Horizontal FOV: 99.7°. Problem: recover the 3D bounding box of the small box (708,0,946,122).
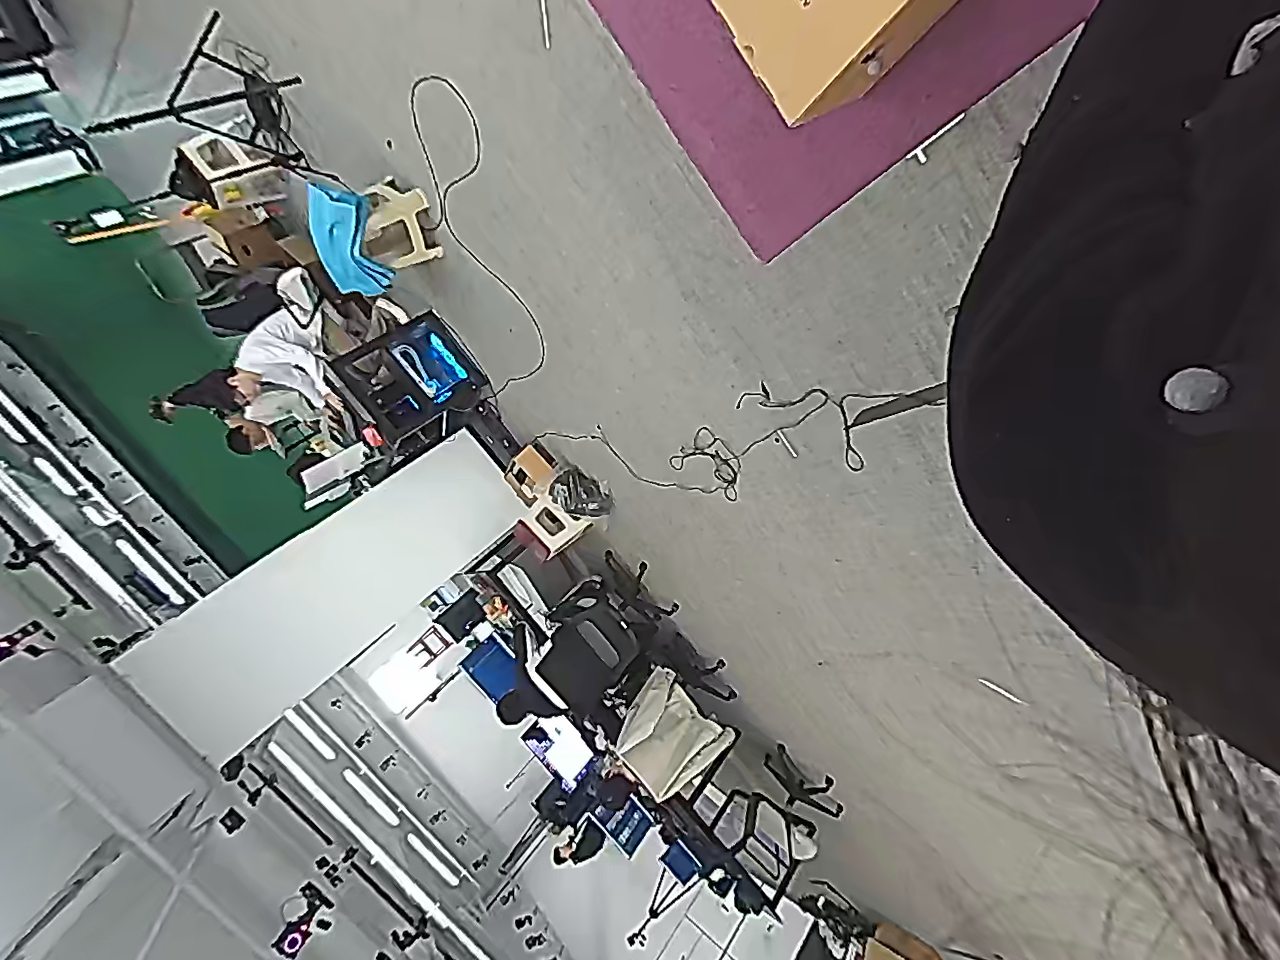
[{"bbox_3d":[0.198,-0.500,0.520,0.168,0.176,0.179,53,151,-8],"label":"small box"}]
